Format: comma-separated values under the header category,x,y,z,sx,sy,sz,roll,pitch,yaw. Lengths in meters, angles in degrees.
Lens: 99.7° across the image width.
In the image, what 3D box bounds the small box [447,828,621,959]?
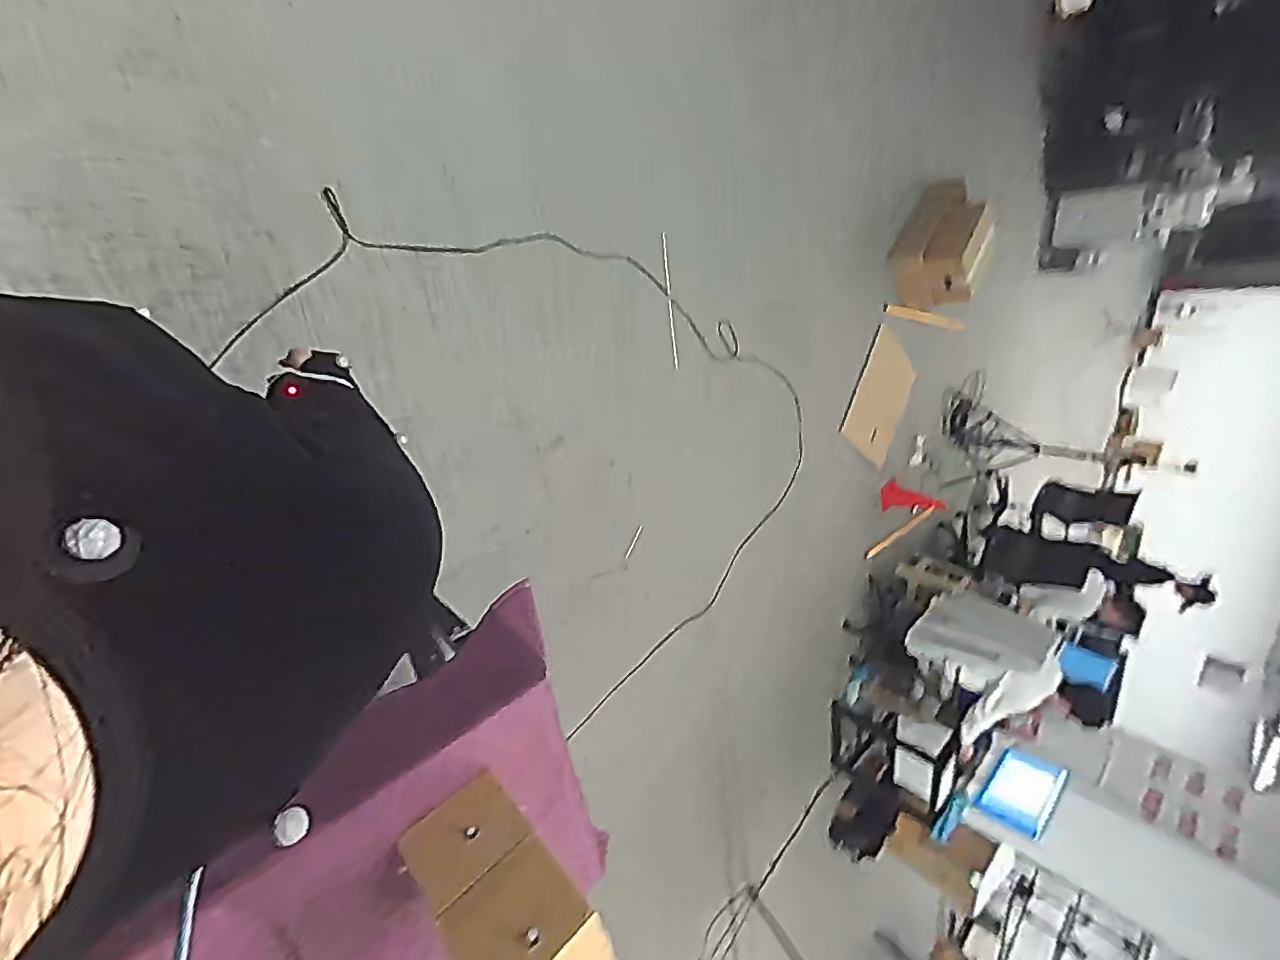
category,x,y,z,sx,sy,sz,roll,pitch,yaw
small box,-0.159,0.669,0.788,0.179,0.176,0.168,-31,122,-33

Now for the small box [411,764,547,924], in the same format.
category,x,y,z,sx,sy,sz,roll,pitch,yaw
small box,-0.262,0.631,0.908,0.179,0.176,0.168,-30,121,-34
